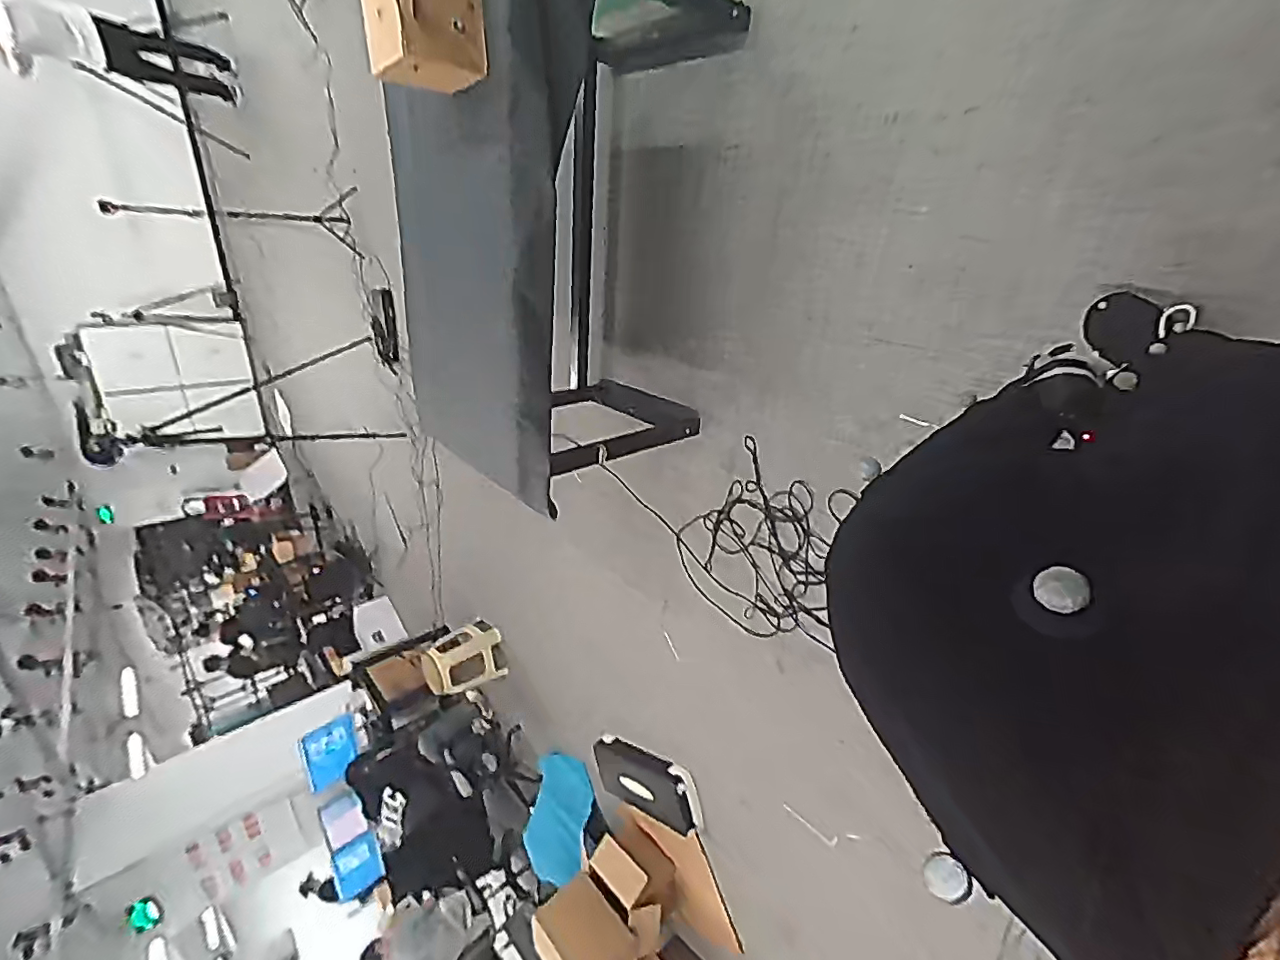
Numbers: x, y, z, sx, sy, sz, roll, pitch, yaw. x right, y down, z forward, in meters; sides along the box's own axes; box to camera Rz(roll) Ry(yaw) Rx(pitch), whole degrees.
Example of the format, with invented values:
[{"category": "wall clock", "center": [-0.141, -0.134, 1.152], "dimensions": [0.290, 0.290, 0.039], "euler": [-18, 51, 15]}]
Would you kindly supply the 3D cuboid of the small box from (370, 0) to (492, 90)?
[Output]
[{"category": "small box", "center": [-0.406, -0.886, 1.052], "dimensions": [0.179, 0.176, 0.168], "euler": [22, 120, 43]}]
